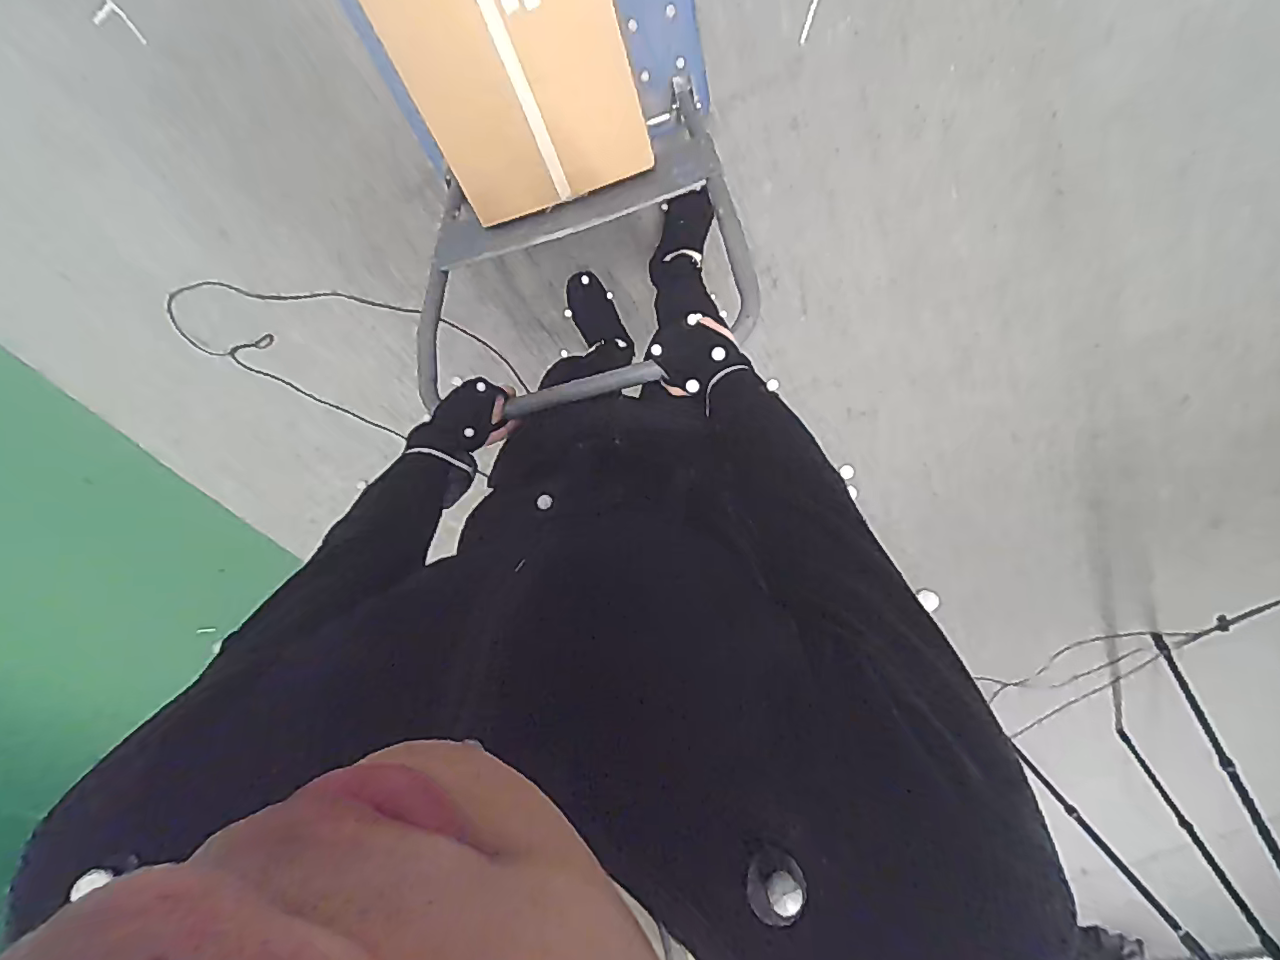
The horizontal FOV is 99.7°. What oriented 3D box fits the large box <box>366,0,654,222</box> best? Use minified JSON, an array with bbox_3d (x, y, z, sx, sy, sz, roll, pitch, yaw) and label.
[{"bbox_3d":[-0.186,-0.713,0.862,0.320,0.320,0.408,-14,140,11],"label":"large box"}]
